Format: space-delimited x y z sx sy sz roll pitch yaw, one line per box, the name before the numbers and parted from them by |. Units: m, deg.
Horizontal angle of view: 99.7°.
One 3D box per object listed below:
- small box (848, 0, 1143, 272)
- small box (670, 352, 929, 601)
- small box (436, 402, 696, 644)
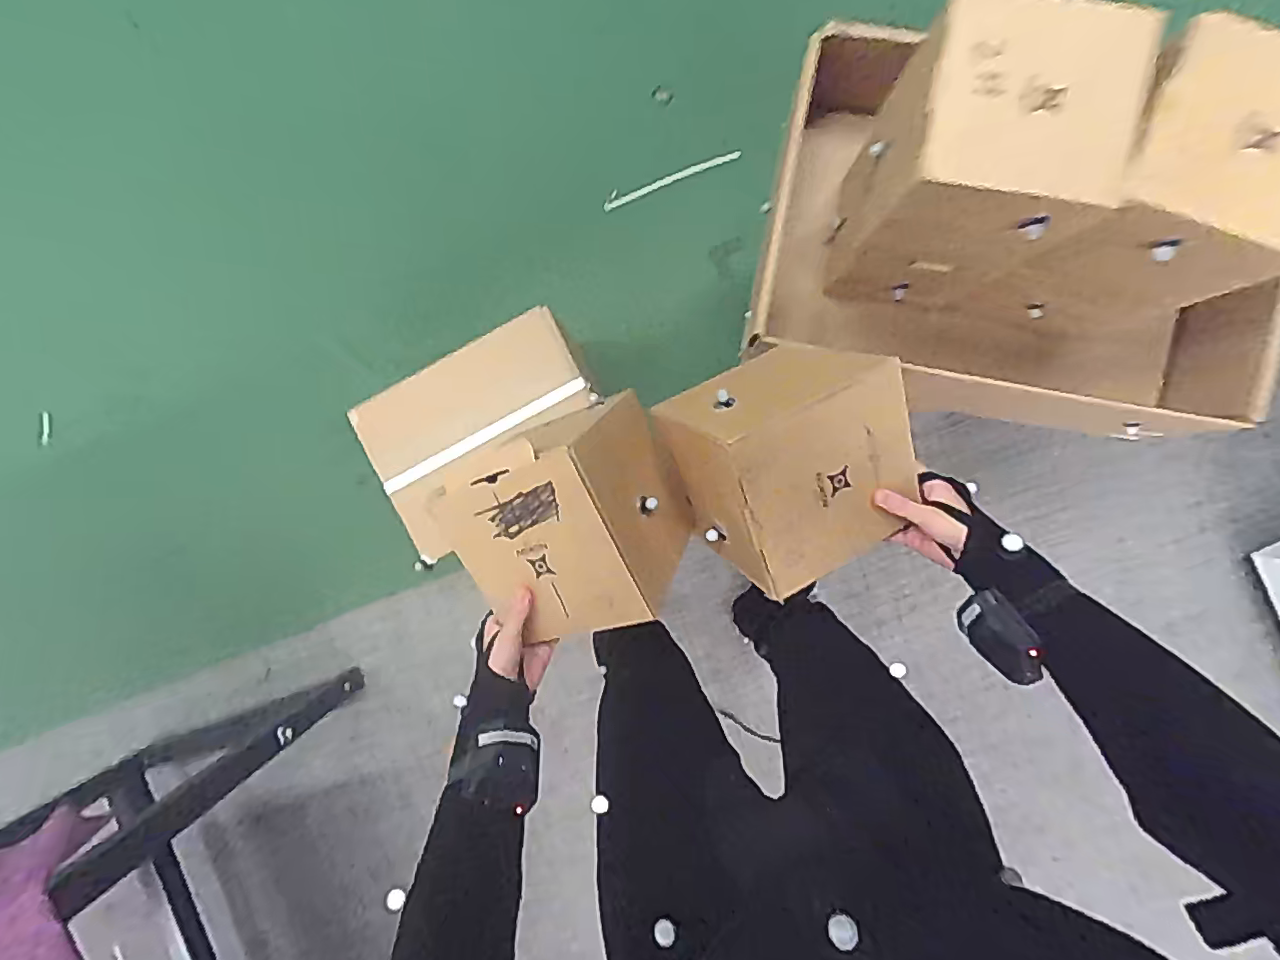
small box | 0.339 -0.329 0.552 0.179 0.176 0.168 10 92 3
small box | 0.146 -0.018 0.537 0.179 0.176 0.168 -26 114 -13
small box | -0.060 0.035 0.549 0.168 0.176 0.179 -17 109 26
